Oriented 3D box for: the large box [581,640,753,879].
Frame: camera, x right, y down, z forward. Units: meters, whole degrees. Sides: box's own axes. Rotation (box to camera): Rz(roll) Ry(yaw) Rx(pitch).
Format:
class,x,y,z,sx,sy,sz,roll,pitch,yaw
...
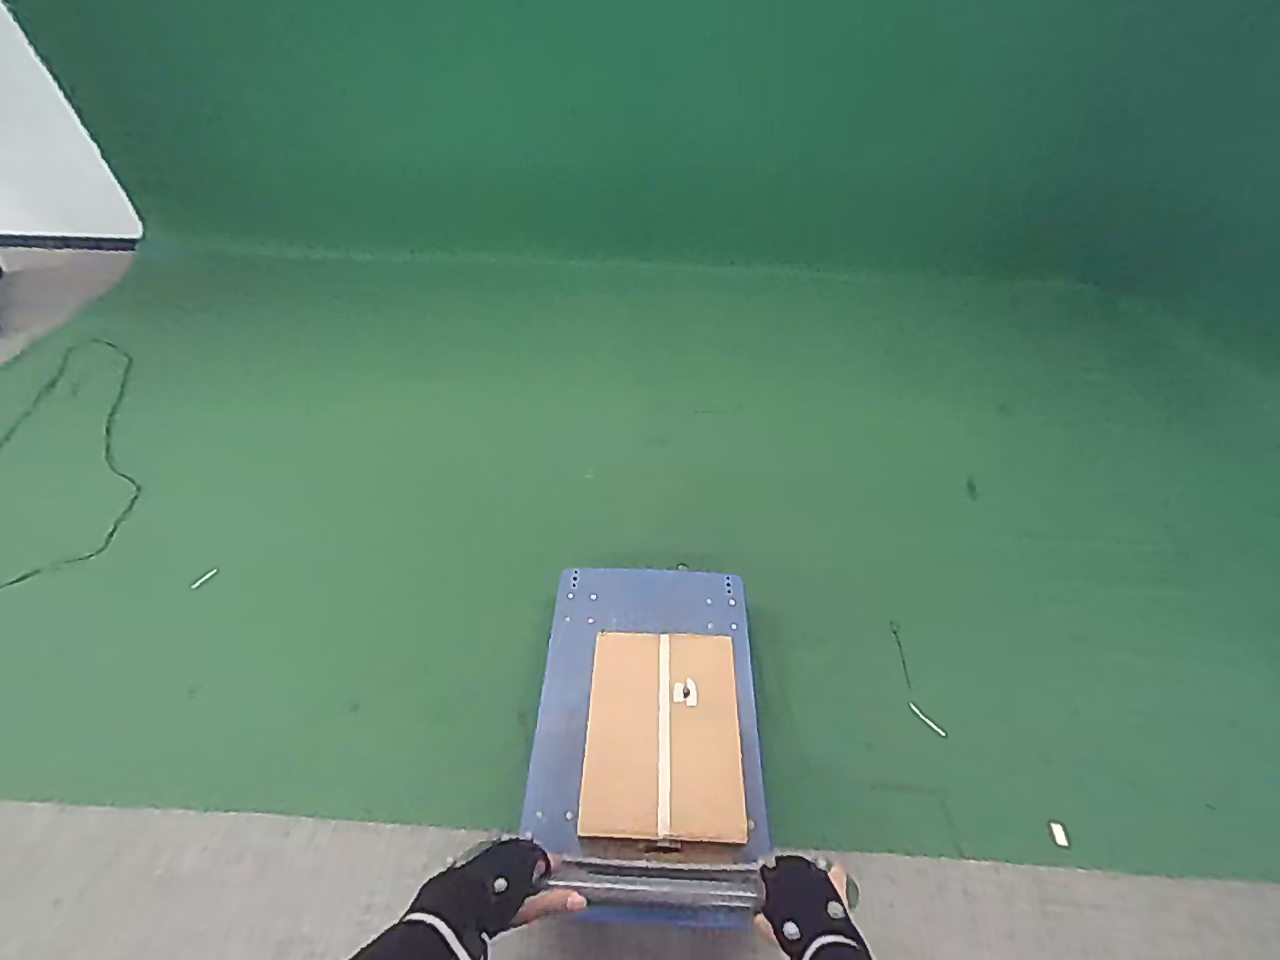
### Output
class,x,y,z,sx,sy,sz,roll,pitch,yaw
large box,0.052,0.615,1.198,0.320,0.320,0.408,2,46,1
